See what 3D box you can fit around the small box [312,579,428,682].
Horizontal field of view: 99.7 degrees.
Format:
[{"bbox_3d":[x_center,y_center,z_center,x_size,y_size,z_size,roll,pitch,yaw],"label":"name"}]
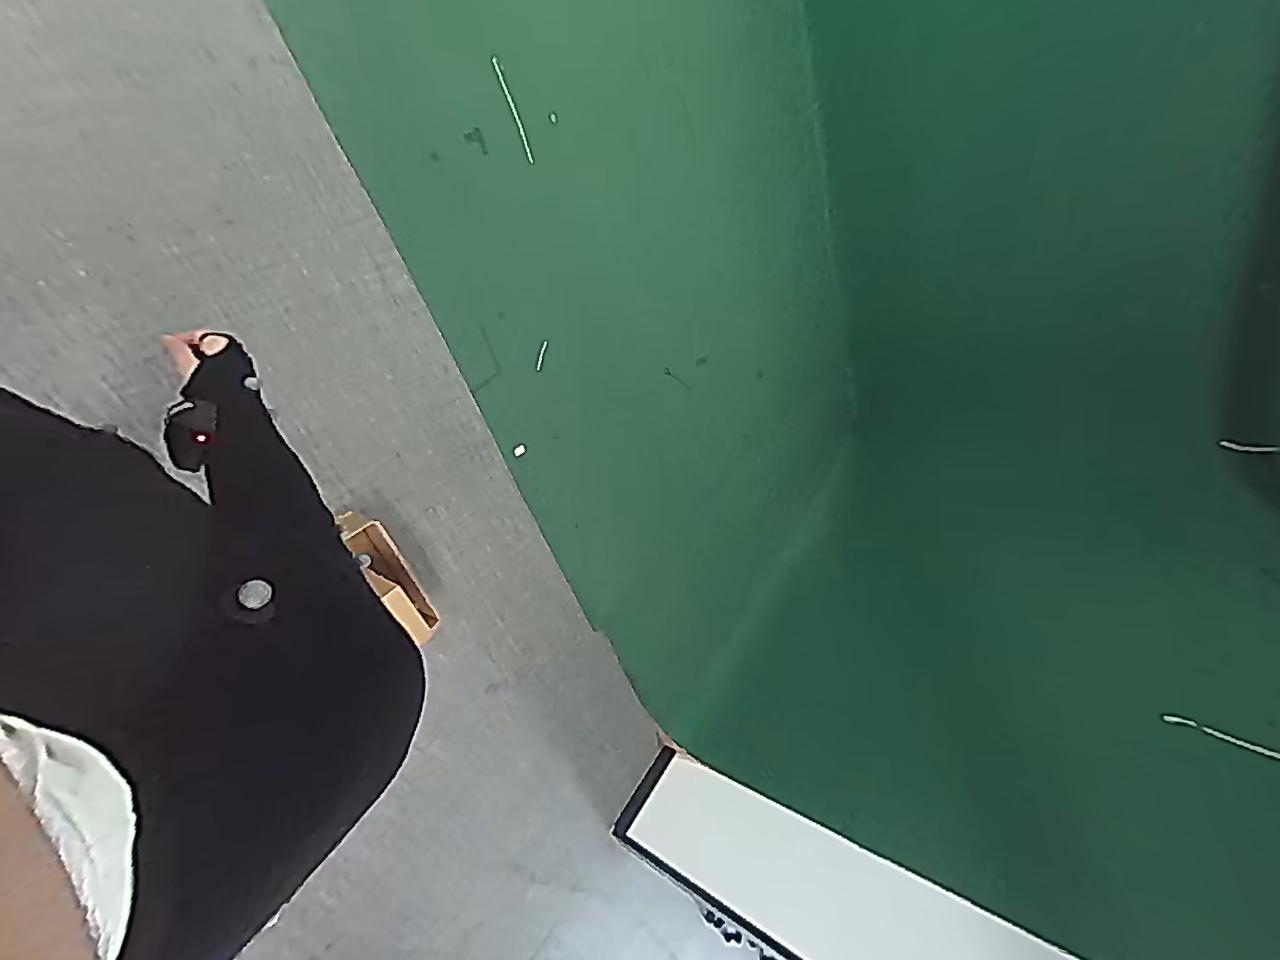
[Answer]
[{"bbox_3d":[-0.680,0.367,1.357,0.168,0.176,0.179,-44,126,-36],"label":"small box"}]
